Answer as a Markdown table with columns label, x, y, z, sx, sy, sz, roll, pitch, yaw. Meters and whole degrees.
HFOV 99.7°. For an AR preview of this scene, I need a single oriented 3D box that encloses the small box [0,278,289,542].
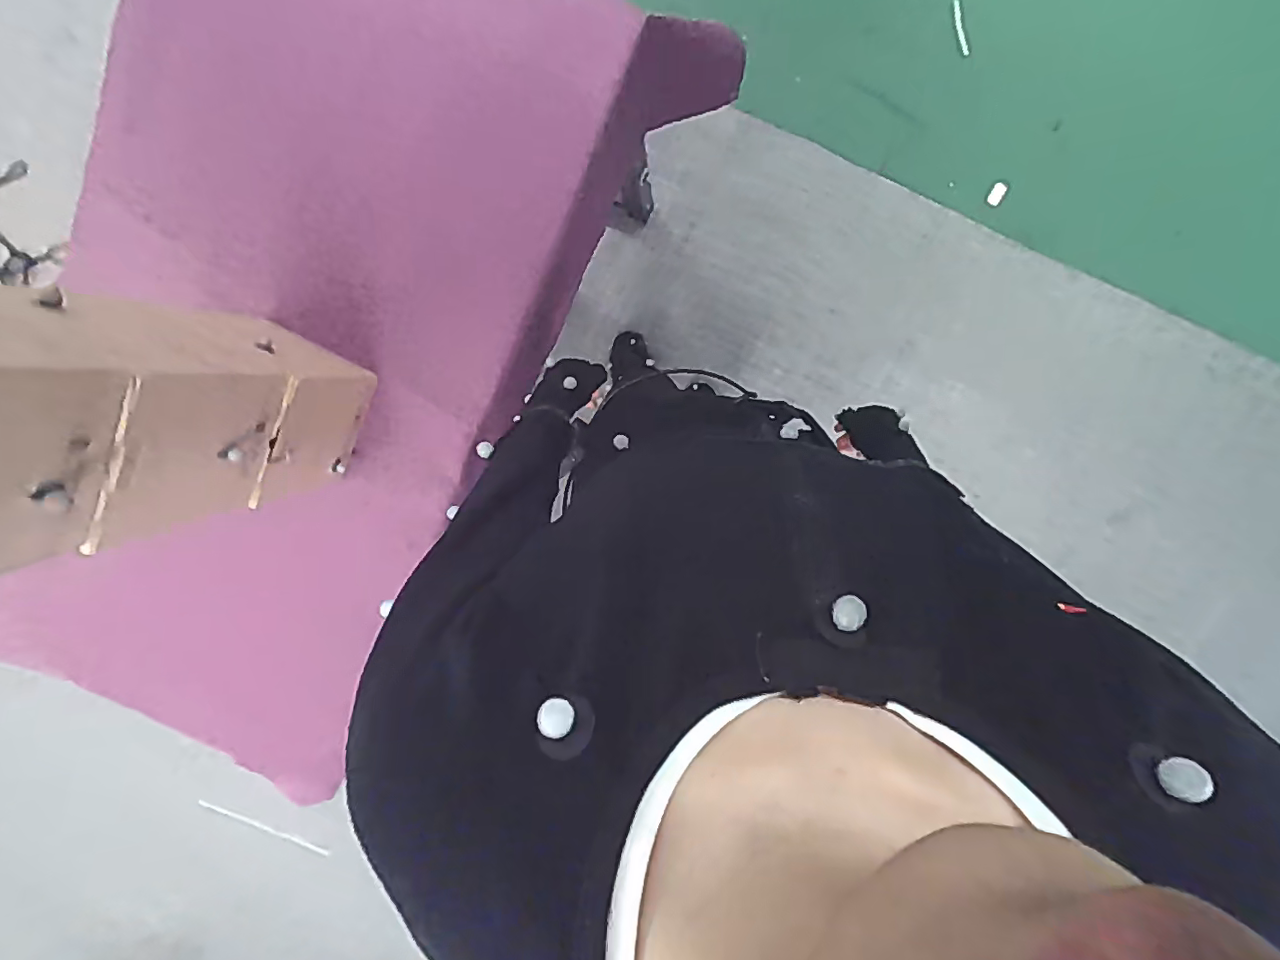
| label | x | y | z | sx | sy | sz | roll | pitch | yaw |
| --- | --- | --- | --- | --- | --- | --- | --- | --- | --- |
| small box | -0.490 | -0.068 | 0.515 | 0.179 | 0.176 | 0.168 | 26 | 102 | -1 |

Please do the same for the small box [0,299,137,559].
| label | x | y | z | sx | sy | sz | roll | pitch | yaw |
| --- | --- | --- | --- | --- | --- | --- | --- | --- | --- |
| small box | -0.505 | -0.040 | 0.355 | 0.179 | 0.176 | 0.168 | 26 | 102 | -1 |

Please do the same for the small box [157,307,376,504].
| label | x | y | z | sx | sy | sz | roll | pitch | yaw |
| --- | --- | --- | --- | --- | --- | --- | --- | --- | --- |
| small box | -0.471 | -0.095 | 0.676 | 0.179 | 0.176 | 0.168 | 27 | 101 | 0 |
